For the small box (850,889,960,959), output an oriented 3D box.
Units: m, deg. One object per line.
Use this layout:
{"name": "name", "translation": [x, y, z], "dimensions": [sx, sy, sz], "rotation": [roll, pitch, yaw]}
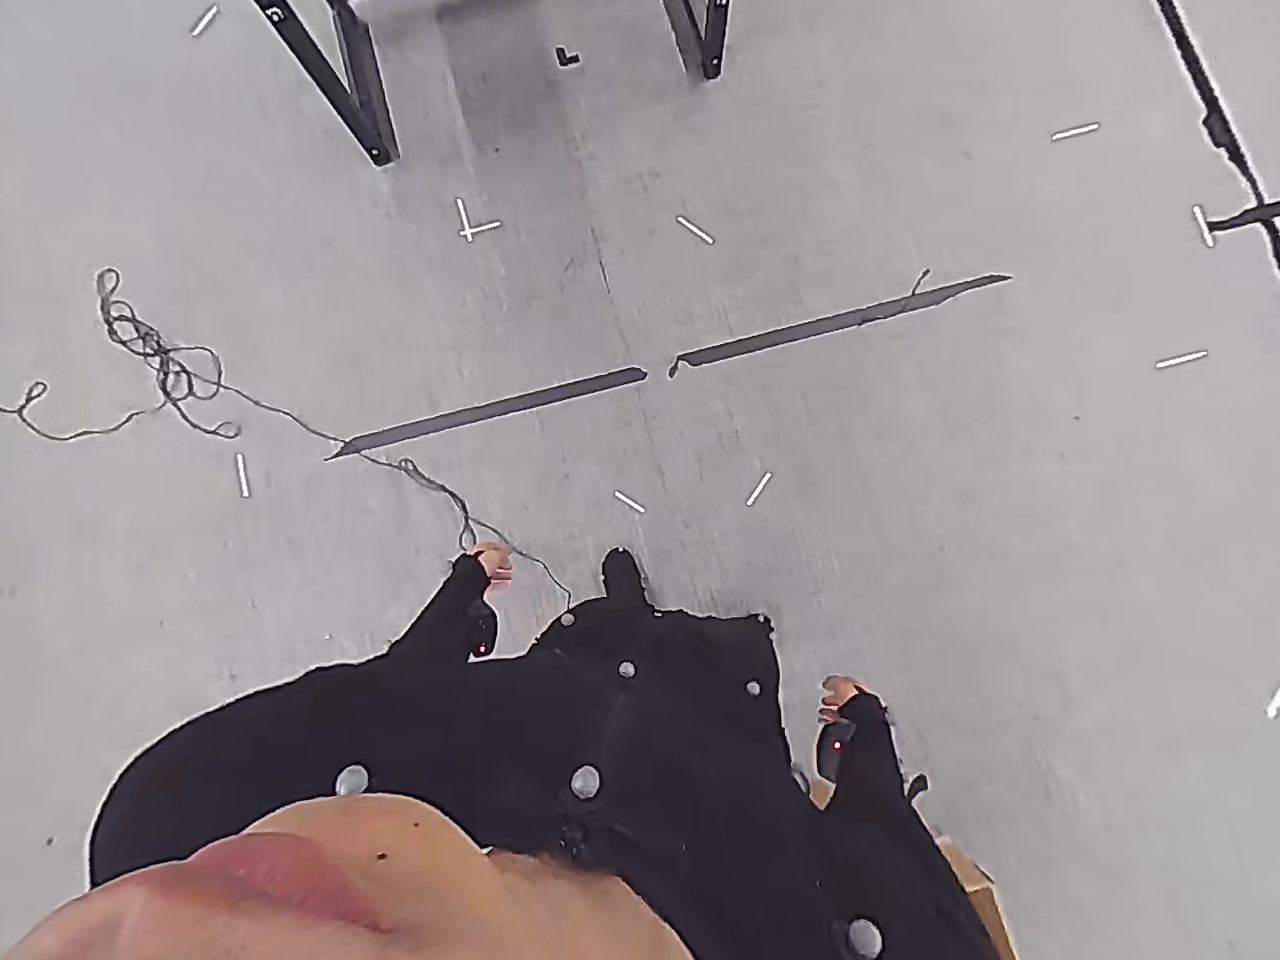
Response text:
{"name": "small box", "translation": [0.537, 0.963, 1.060], "dimensions": [0.179, 0.176, 0.168], "rotation": [-22, 85, -2]}
